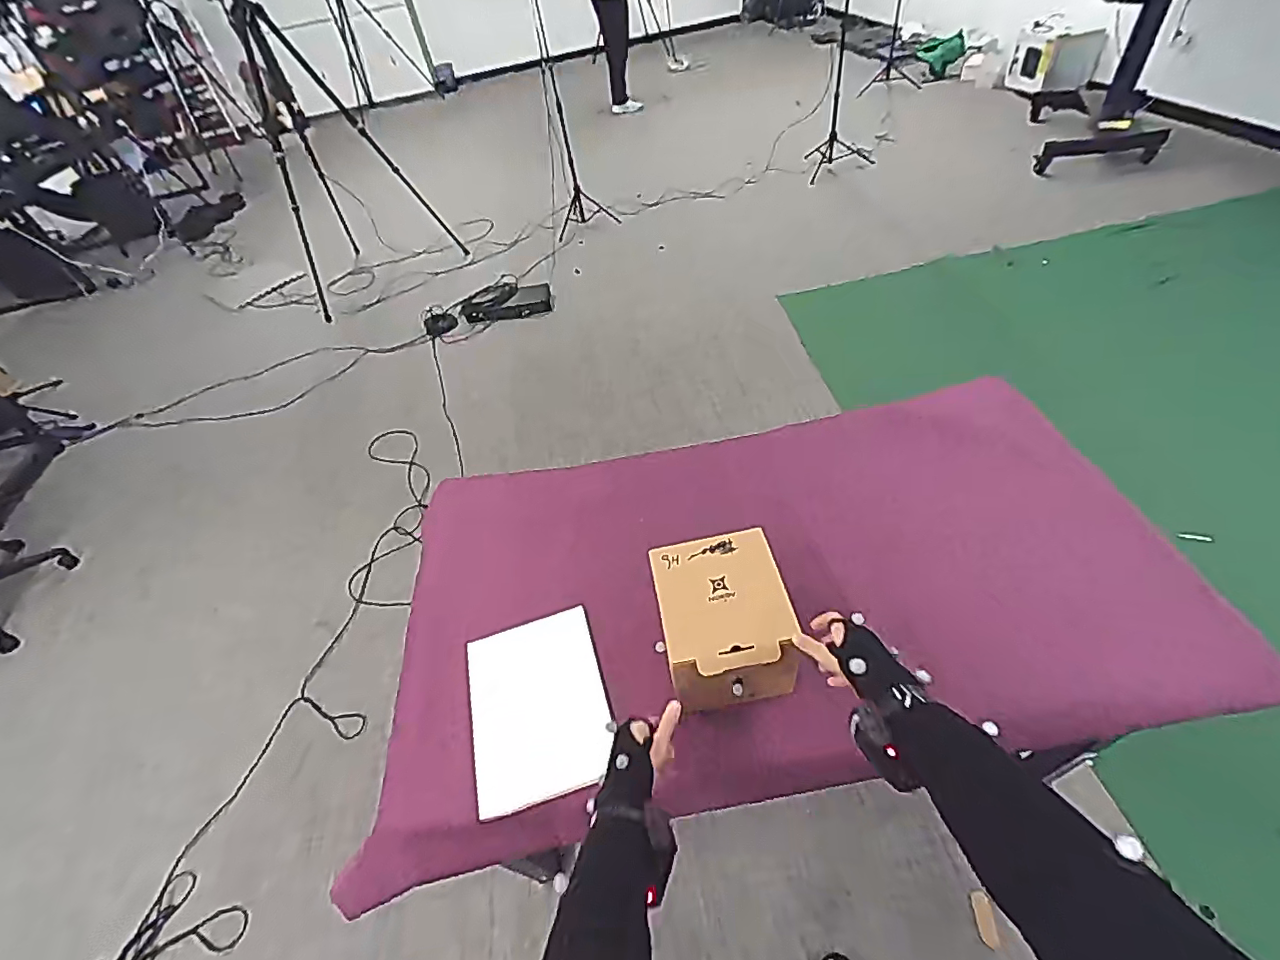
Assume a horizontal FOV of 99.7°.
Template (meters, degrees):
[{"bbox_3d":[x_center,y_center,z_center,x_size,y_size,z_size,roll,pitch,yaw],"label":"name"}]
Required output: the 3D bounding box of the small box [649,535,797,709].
[{"bbox_3d":[0.113,0.208,0.767,0.168,0.176,0.179,-11,47,0],"label":"small box"}]
